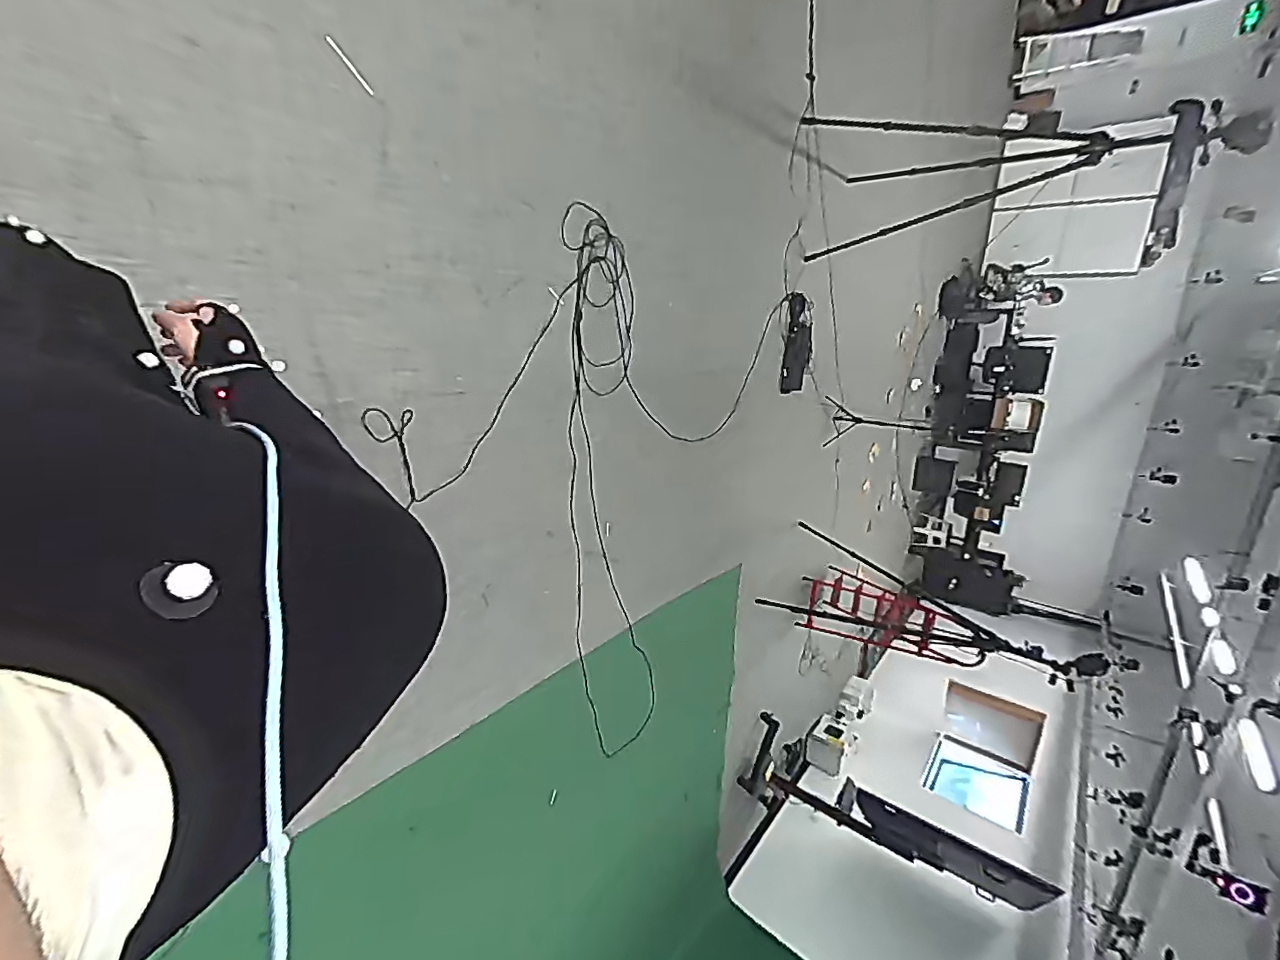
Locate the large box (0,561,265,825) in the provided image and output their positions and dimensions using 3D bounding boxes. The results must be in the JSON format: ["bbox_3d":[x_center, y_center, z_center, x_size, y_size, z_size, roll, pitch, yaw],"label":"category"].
[{"bbox_3d":[-1.136,0.423,1.195,0.408,0.320,0.320,-20,116,-46],"label":"large box"}]
